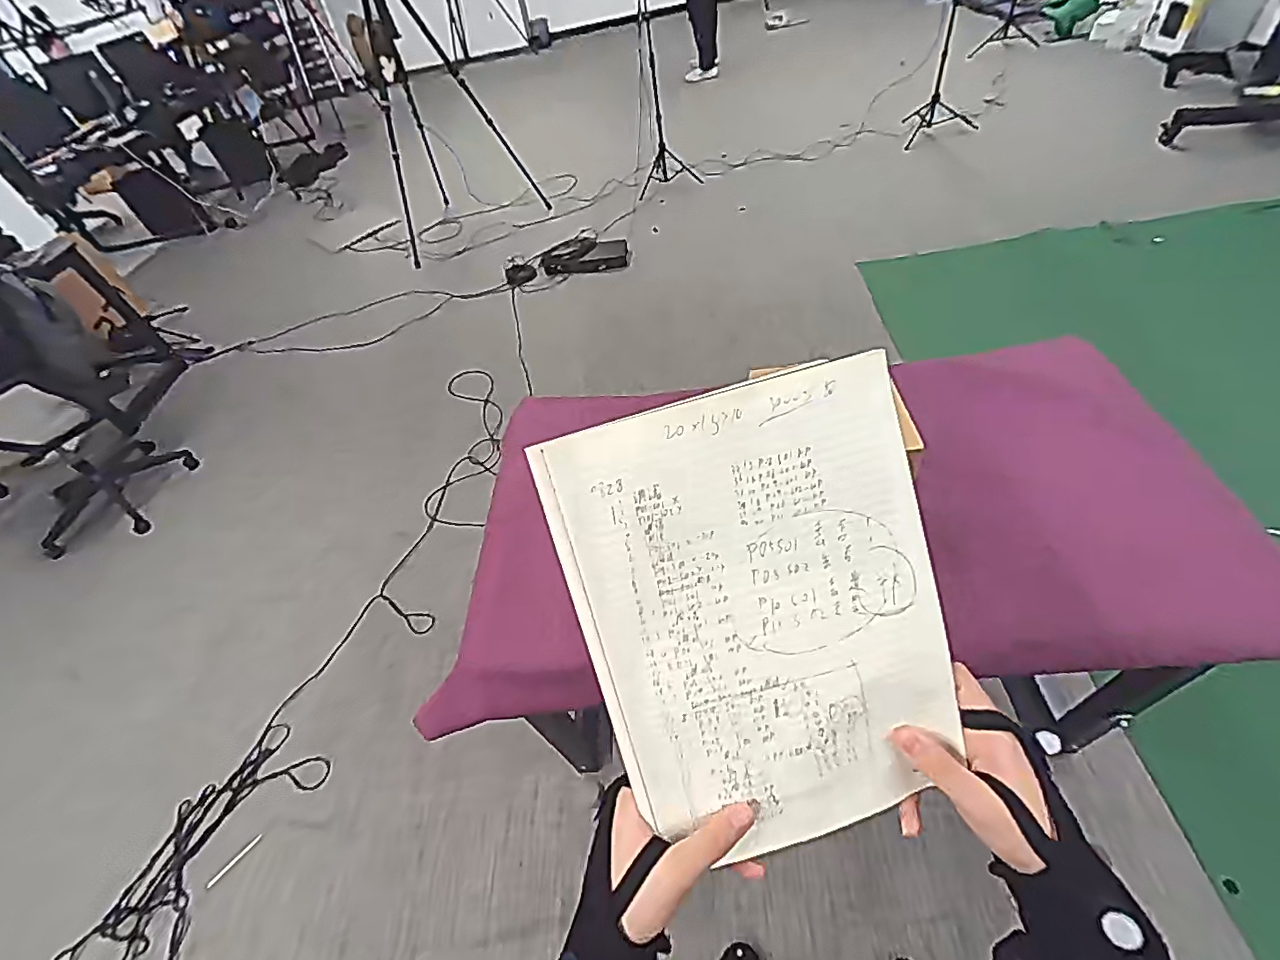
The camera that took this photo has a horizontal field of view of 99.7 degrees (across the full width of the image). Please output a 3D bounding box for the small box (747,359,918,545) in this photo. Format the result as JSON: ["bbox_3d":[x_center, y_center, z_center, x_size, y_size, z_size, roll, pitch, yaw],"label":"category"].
[{"bbox_3d":[0.234,-0.029,0.702,0.168,0.176,0.179,-6,47,7],"label":"small box"}]
